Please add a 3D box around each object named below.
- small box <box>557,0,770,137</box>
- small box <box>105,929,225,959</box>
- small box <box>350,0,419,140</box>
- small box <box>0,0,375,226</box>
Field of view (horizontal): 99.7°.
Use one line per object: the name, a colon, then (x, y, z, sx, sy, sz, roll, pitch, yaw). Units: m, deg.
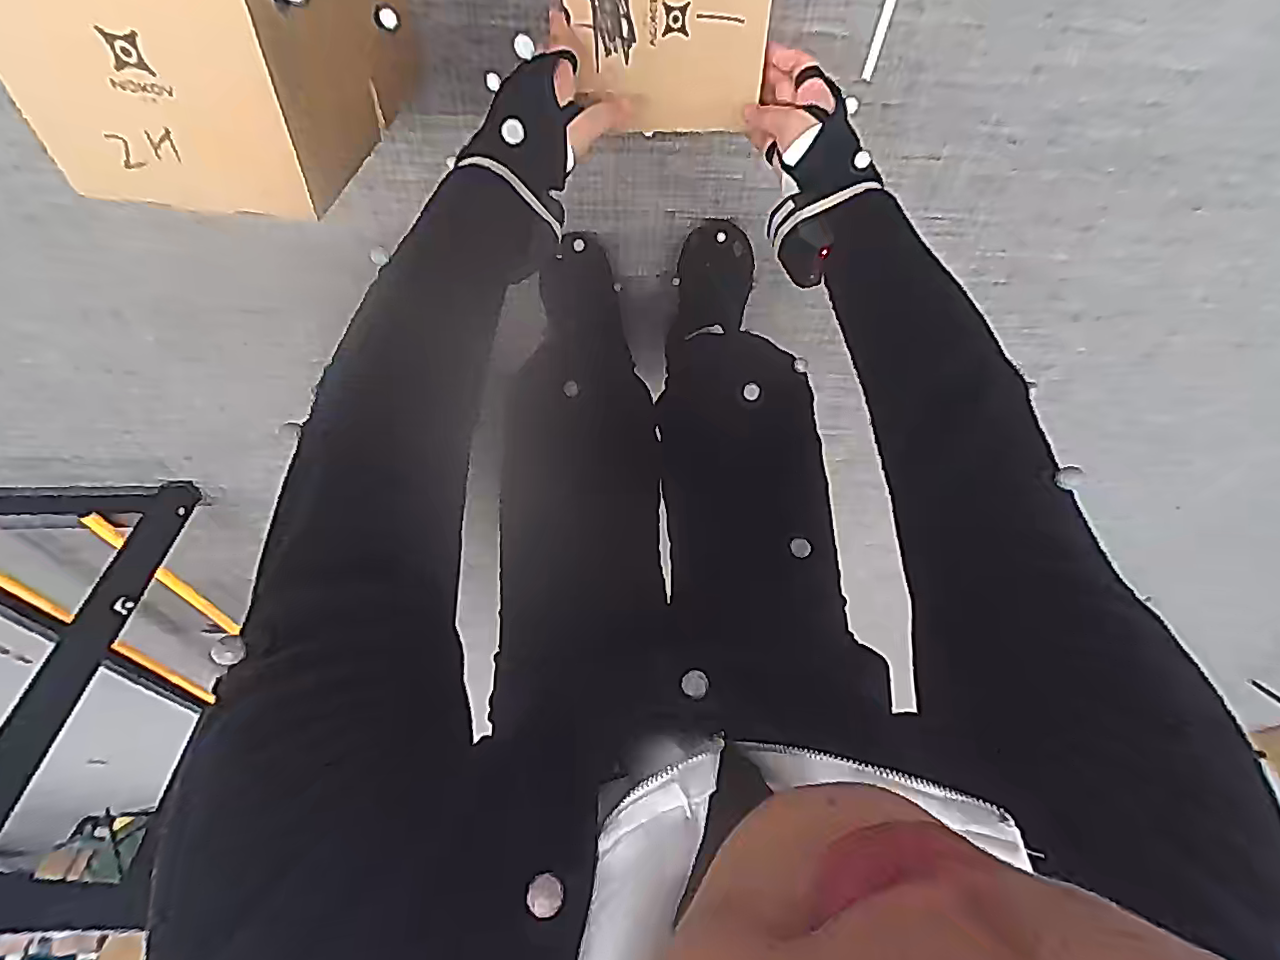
small box: (0.018, -0.437, 0.503, 0.179, 0.176, 0.168, -1, 137, -2)
small box: (-1.135, 1.167, 1.265, 0.179, 0.176, 0.168, -4, 142, 1)
small box: (-0.319, -0.439, 0.489, 0.168, 0.176, 0.179, 0, 142, -3)
small box: (-0.311, -0.312, 0.382, 0.168, 0.176, 0.179, 4, 141, -7)
